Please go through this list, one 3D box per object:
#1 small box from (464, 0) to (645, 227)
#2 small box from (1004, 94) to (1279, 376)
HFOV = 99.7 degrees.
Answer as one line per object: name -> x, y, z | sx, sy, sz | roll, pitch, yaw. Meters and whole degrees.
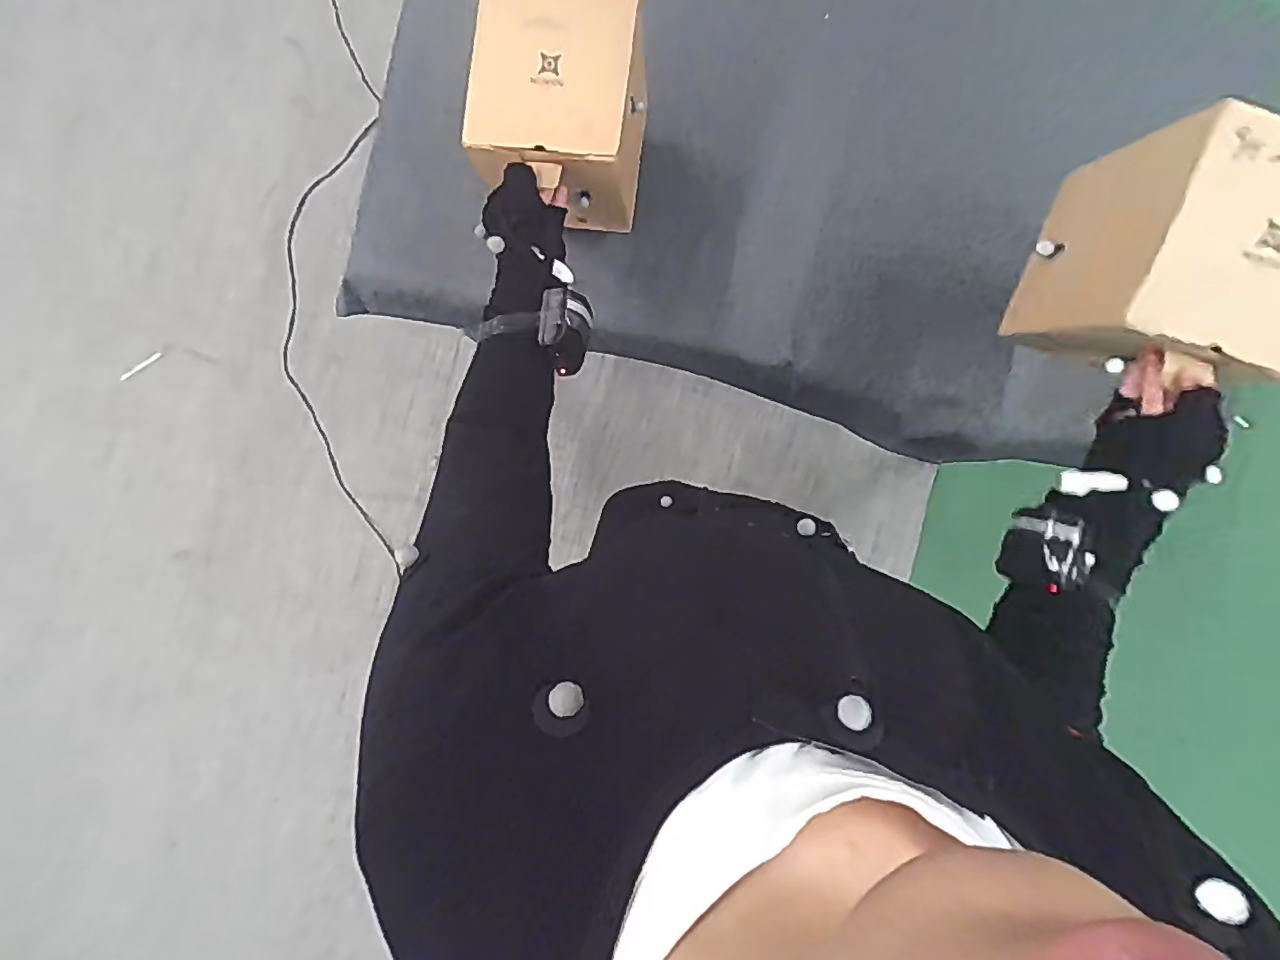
small box -> -0.086, -0.420, 0.630 | 0.168, 0.176, 0.179 | 7, 89, 3
small box -> 0.494, -0.209, 0.513 | 0.168, 0.176, 0.179 | 18, 102, -3
